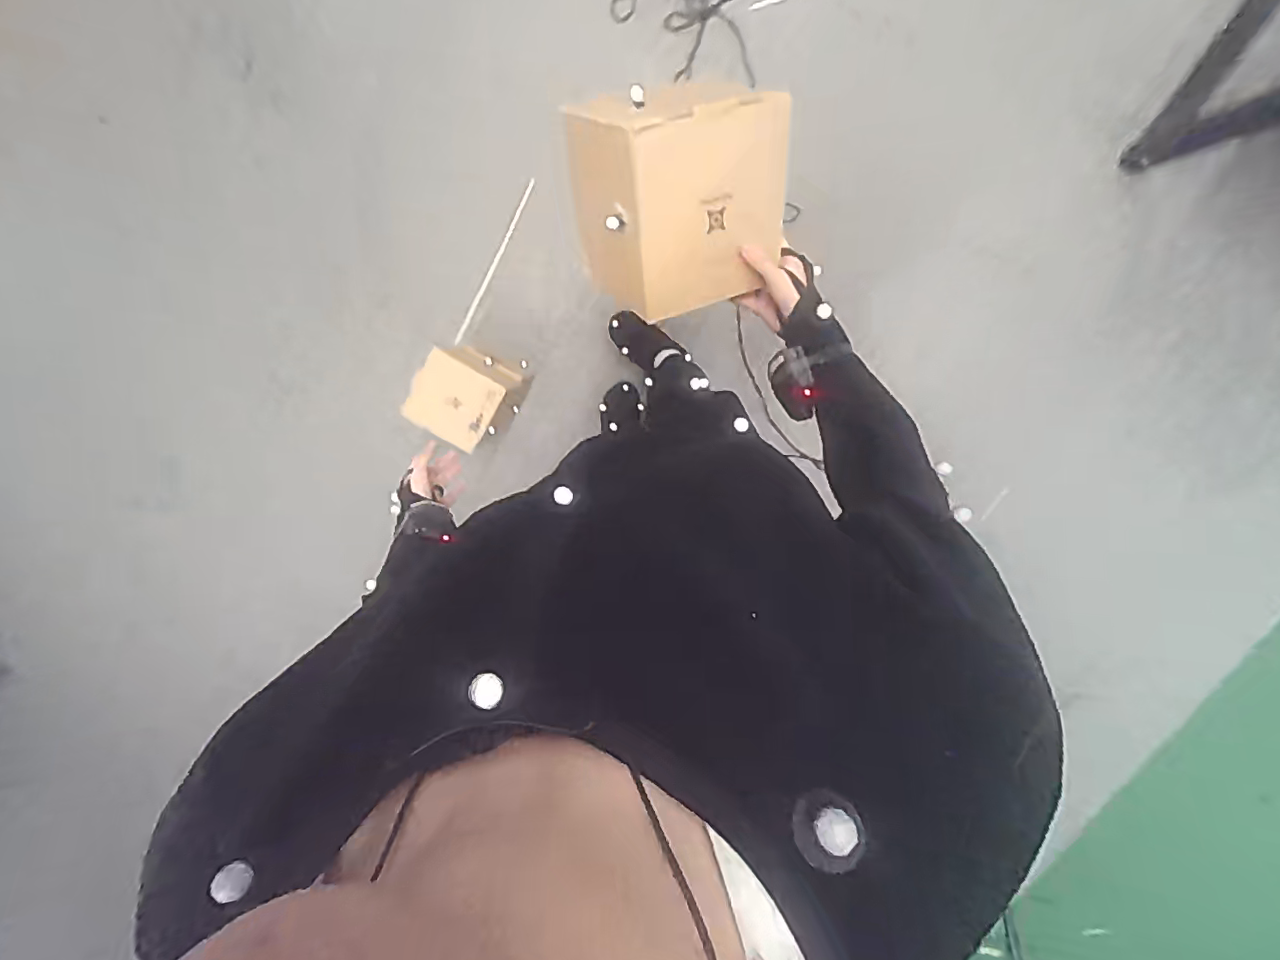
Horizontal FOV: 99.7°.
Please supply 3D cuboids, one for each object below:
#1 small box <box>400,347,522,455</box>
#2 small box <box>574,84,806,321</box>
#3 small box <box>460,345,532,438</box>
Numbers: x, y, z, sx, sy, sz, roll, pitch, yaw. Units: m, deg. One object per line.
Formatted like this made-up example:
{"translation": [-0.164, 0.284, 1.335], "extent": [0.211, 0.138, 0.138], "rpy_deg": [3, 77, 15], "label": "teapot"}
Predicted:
{"translation": [-0.389, -0.178, 1.204], "extent": [0.179, 0.176, 0.168], "rpy_deg": [30, 102, -7], "label": "small box"}
{"translation": [0.042, -0.295, 0.561], "extent": [0.168, 0.176, 0.179], "rpy_deg": [-21, 135, -18], "label": "small box"}
{"translation": [-0.387, -0.224, 1.361], "extent": [0.168, 0.176, 0.179], "rpy_deg": [29, 103, -7], "label": "small box"}
